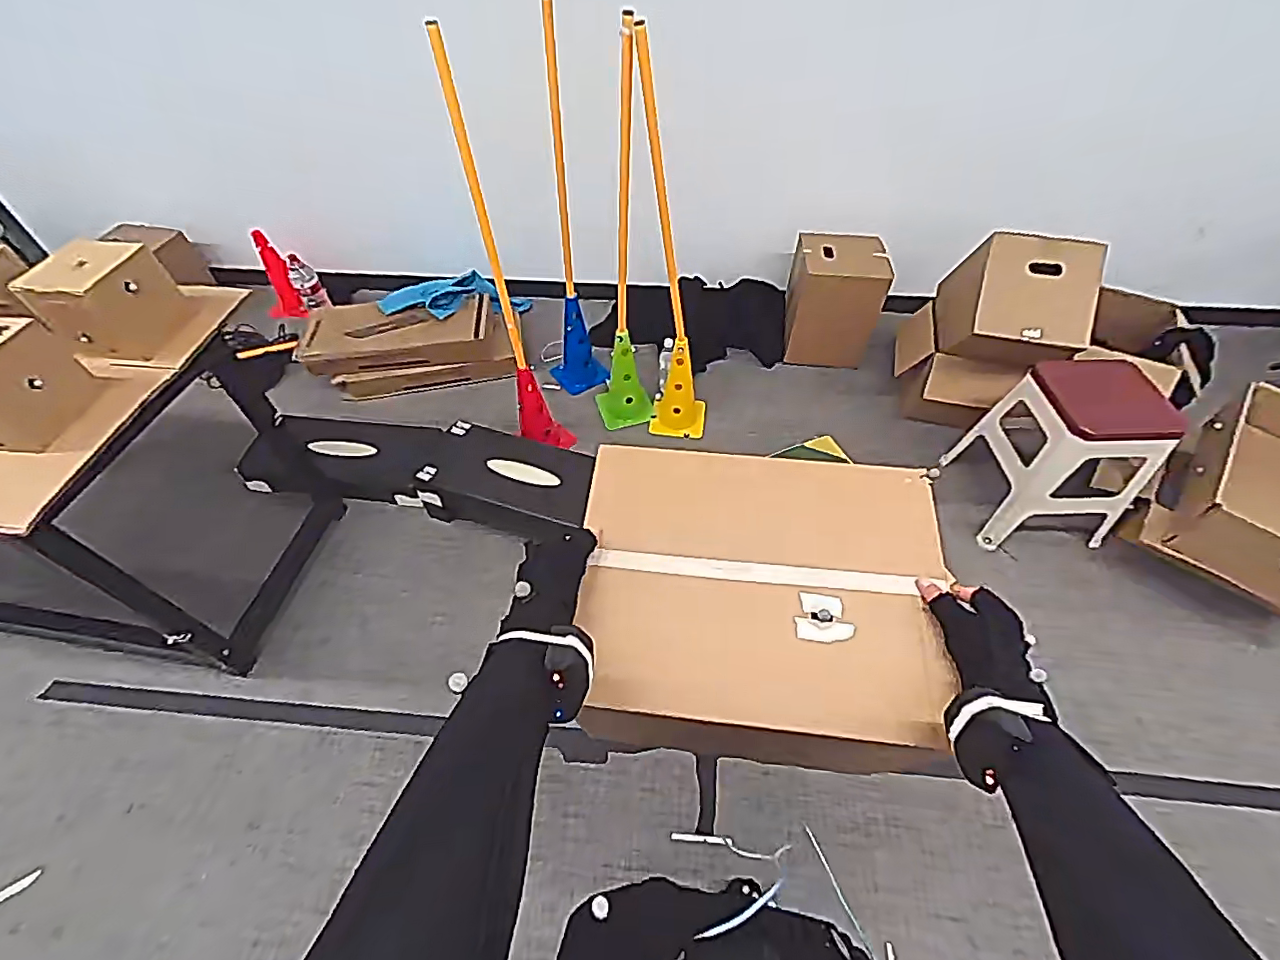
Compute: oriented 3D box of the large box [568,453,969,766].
[{"bbox_3d":[0.141,0.185,0.738,0.408,0.320,0.320,5,60,6],"label":"large box"}]
